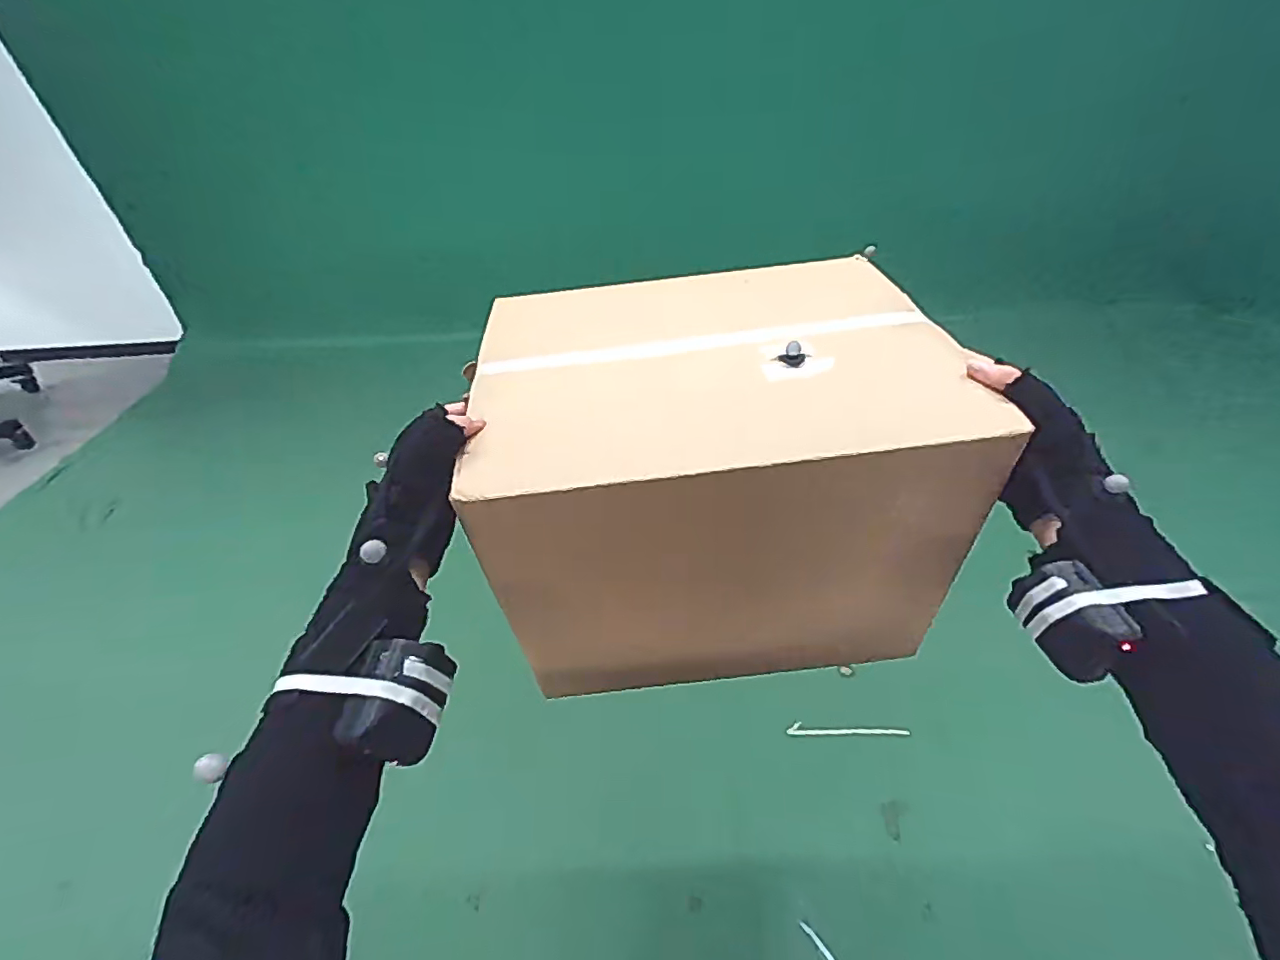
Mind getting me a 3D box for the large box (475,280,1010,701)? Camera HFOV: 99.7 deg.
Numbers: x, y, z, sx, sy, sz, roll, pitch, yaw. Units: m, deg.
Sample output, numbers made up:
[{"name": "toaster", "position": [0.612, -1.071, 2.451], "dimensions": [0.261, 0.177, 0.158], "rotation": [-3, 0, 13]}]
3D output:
[{"name": "large box", "position": [0.071, 0.008, 0.597], "dimensions": [0.408, 0.320, 0.320], "rotation": [-7, 43, -1]}]
